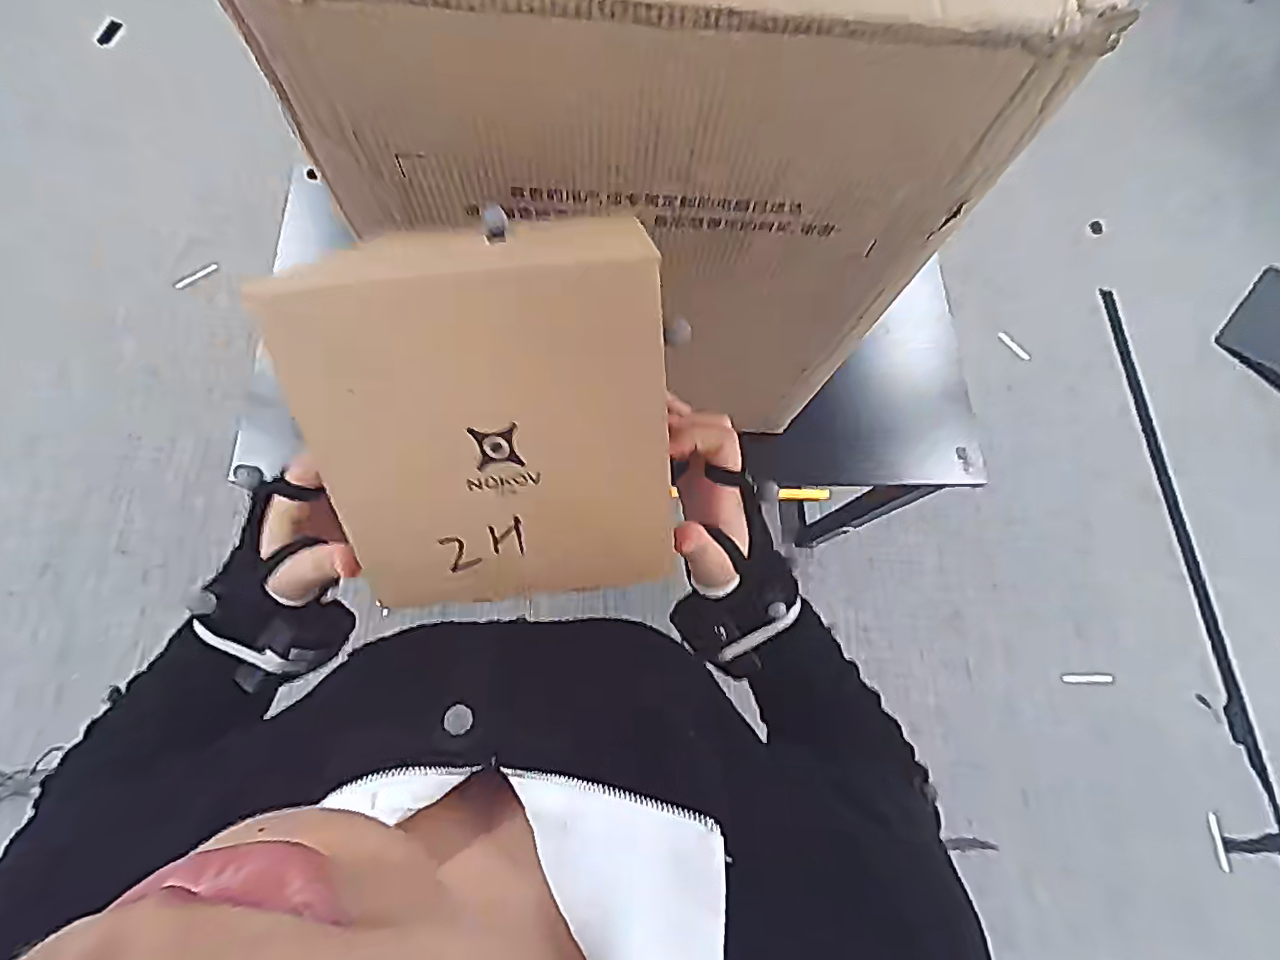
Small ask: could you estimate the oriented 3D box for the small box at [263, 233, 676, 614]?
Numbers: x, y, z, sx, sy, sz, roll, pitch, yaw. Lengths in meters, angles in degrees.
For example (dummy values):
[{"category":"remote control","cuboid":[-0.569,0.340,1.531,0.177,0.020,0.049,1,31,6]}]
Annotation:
[{"category":"small box","cuboid":[-0.072,-0.048,0.327,0.168,0.179,0.176,-5,30,-2]}]
